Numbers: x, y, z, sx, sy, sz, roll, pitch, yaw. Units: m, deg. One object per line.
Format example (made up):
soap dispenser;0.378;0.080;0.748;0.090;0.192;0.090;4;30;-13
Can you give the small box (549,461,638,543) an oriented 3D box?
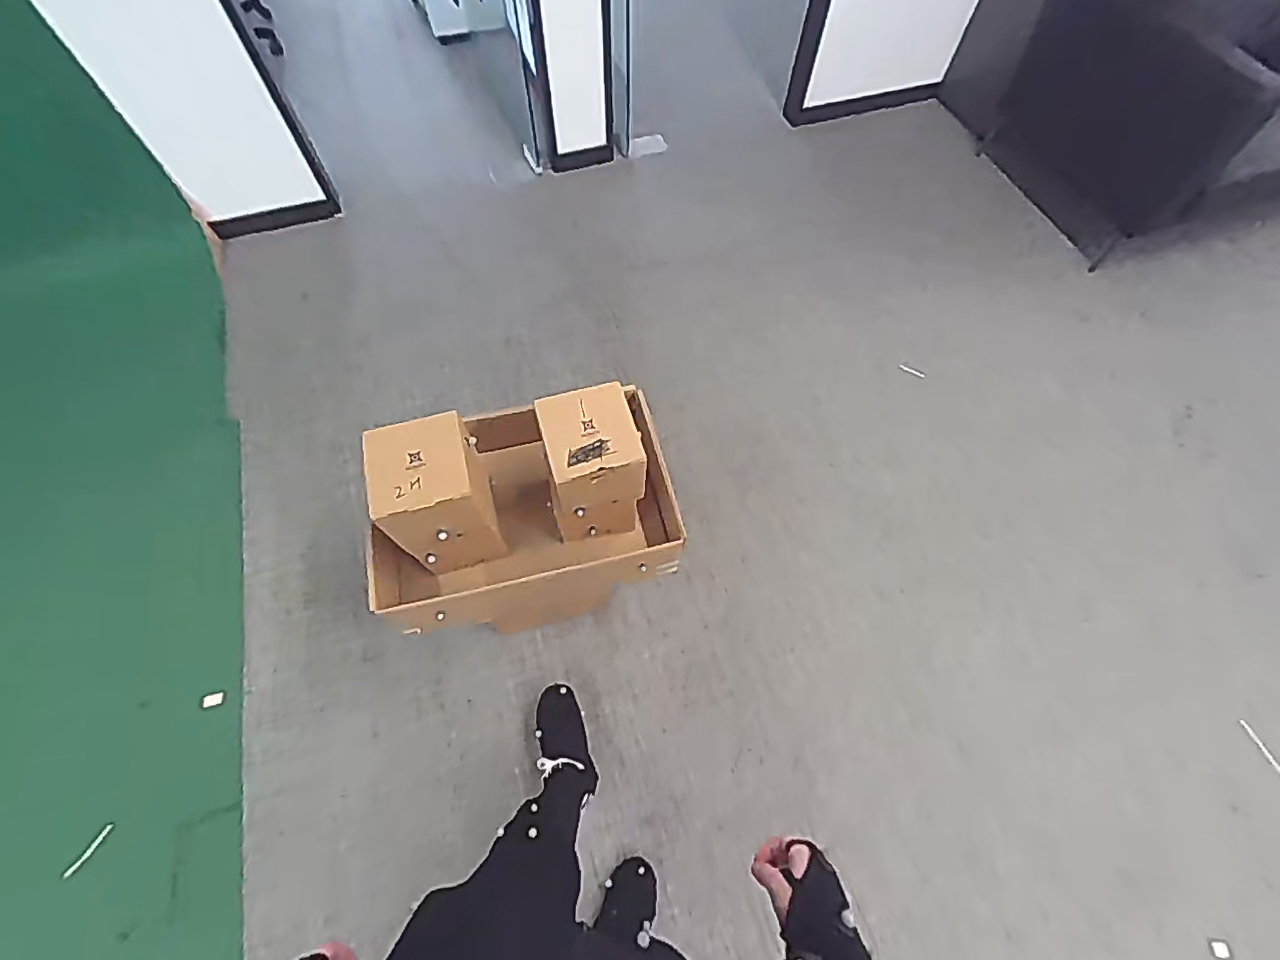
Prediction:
small box;-0.104;0.018;1.175;0.168;0.176;0.179;-10;64;-7

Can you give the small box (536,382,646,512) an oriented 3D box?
small box;-0.090;-0.053;1.027;0.168;0.176;0.179;-14;65;-9

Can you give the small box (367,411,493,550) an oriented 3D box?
small box;-0.378;0.005;0.987;0.168;0.176;0.179;-14;64;-8
